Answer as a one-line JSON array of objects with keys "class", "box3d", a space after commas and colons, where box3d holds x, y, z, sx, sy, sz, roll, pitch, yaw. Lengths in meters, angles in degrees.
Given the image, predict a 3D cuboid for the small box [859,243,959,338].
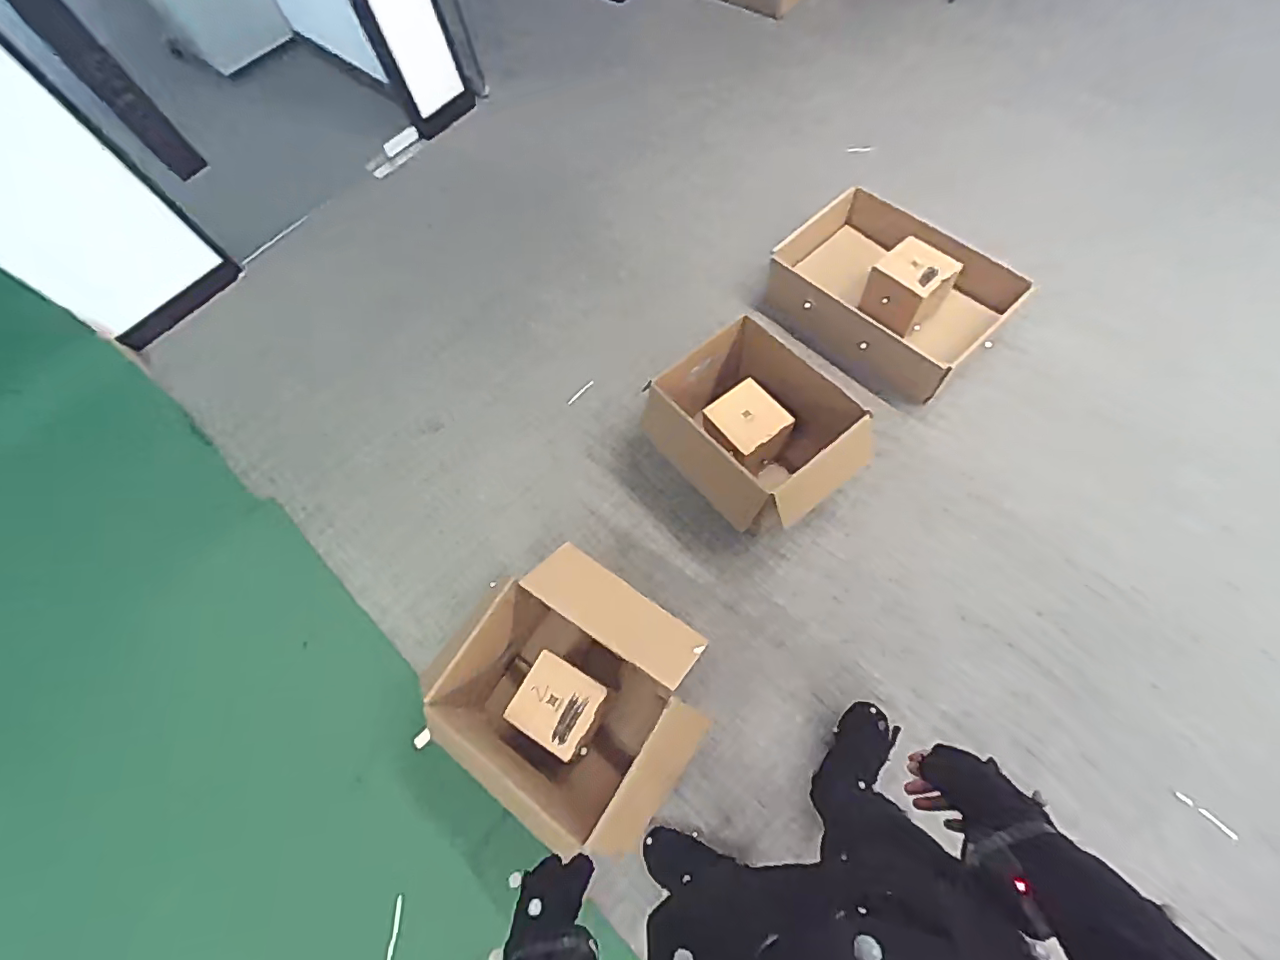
[{"class": "small box", "box3d": [0.772, -0.542, 1.572, 0.168, 0.176, 0.179, -39, 65, -12]}]
